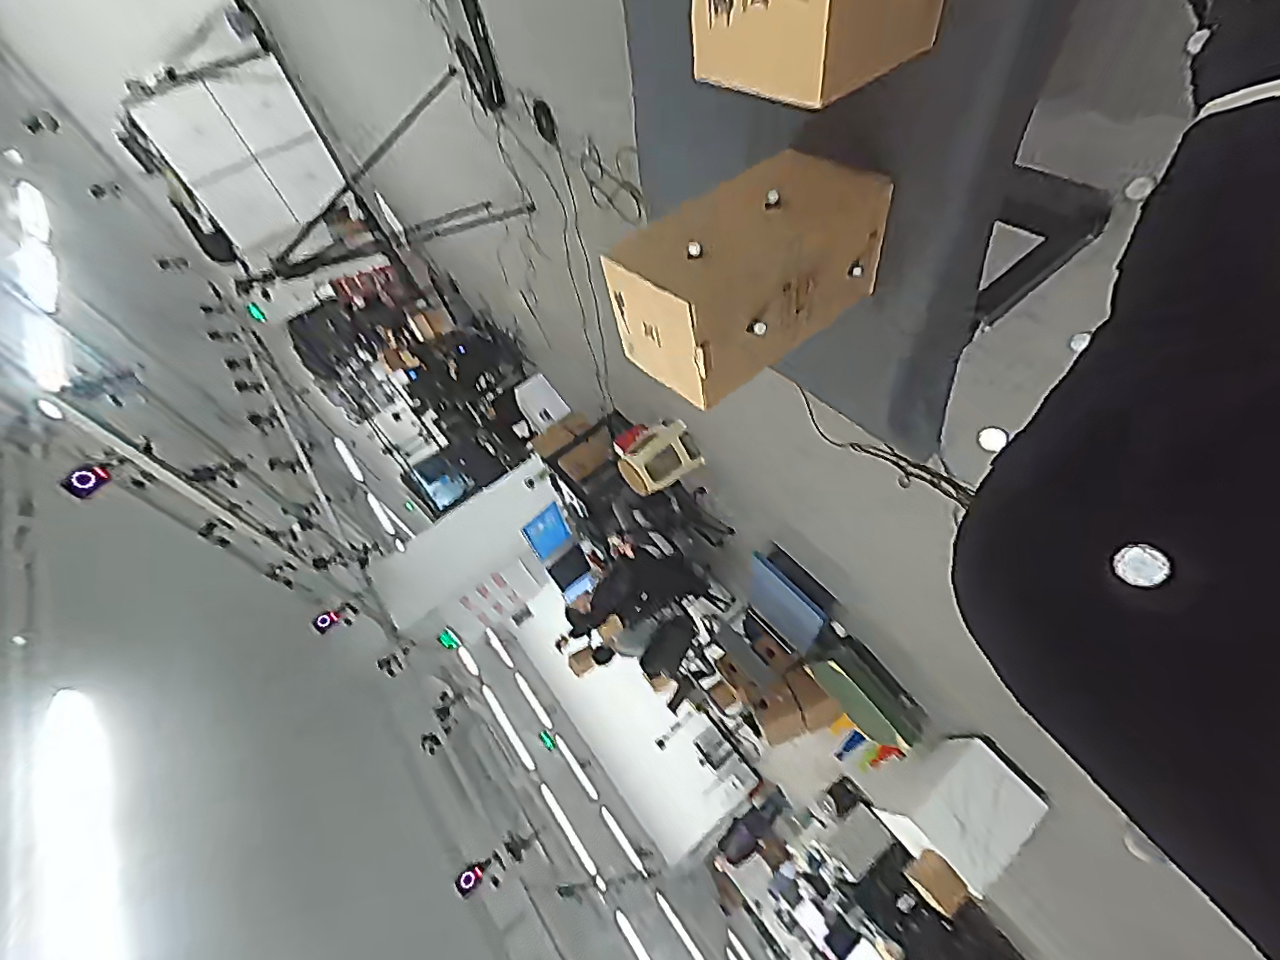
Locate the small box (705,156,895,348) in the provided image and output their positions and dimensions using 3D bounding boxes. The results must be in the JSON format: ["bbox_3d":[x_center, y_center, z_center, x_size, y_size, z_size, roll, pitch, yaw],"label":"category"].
[{"bbox_3d":[0.213,-0.321,0.750,0.179,0.176,0.168,42,160,34],"label":"small box"}]

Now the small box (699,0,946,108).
[{"bbox_3d":[0.171,-0.488,0.505,0.179,0.176,0.168,44,162,33],"label":"small box"}]

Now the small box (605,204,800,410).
[{"bbox_3d":[0.087,-0.229,0.701,0.179,0.176,0.168,41,160,35],"label":"small box"}]
